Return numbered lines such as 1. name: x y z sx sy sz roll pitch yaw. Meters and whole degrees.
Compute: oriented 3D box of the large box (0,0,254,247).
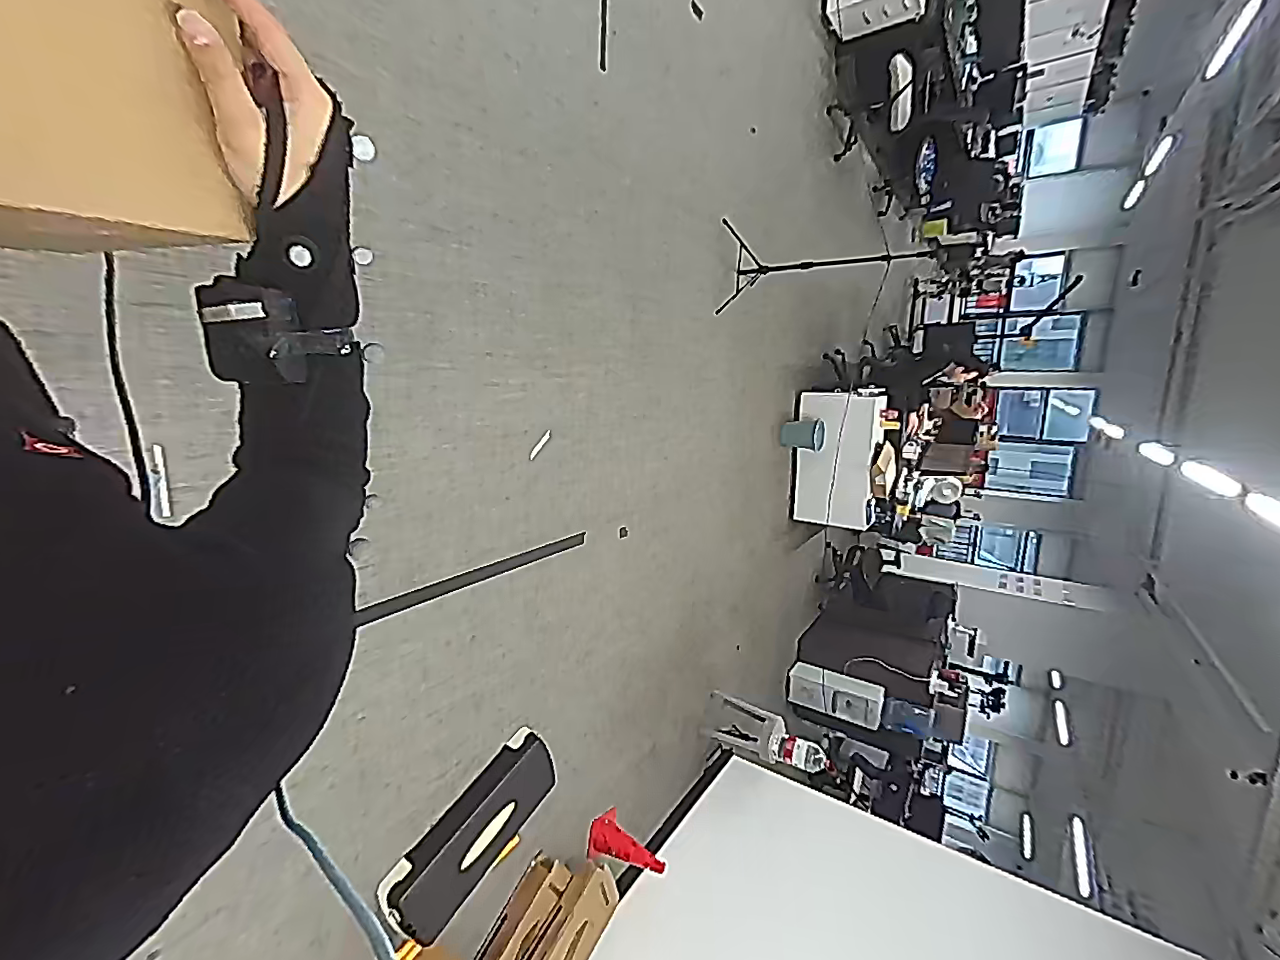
1. large box: -0.466 -0.283 0.206 0.408 0.320 0.320 -23 121 -57
